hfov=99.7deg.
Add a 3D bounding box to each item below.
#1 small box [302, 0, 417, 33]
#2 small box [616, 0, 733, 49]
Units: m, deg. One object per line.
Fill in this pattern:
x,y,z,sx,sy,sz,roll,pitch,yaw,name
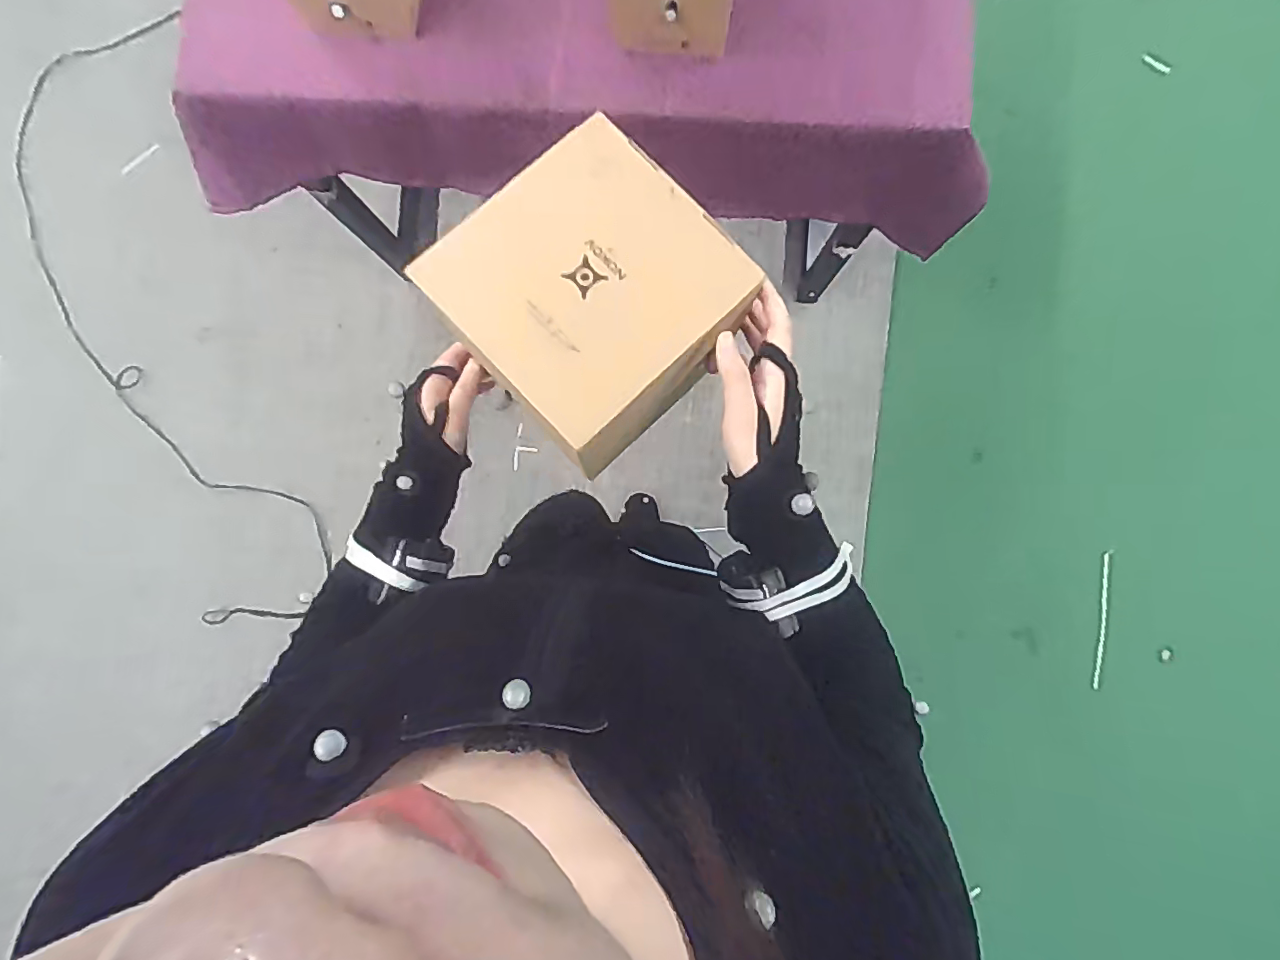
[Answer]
-0.412,-0.771,0.737,0.168,0.176,0.179,7,89,1,small box
0.053,-0.732,0.730,0.168,0.176,0.179,5,88,1,small box
